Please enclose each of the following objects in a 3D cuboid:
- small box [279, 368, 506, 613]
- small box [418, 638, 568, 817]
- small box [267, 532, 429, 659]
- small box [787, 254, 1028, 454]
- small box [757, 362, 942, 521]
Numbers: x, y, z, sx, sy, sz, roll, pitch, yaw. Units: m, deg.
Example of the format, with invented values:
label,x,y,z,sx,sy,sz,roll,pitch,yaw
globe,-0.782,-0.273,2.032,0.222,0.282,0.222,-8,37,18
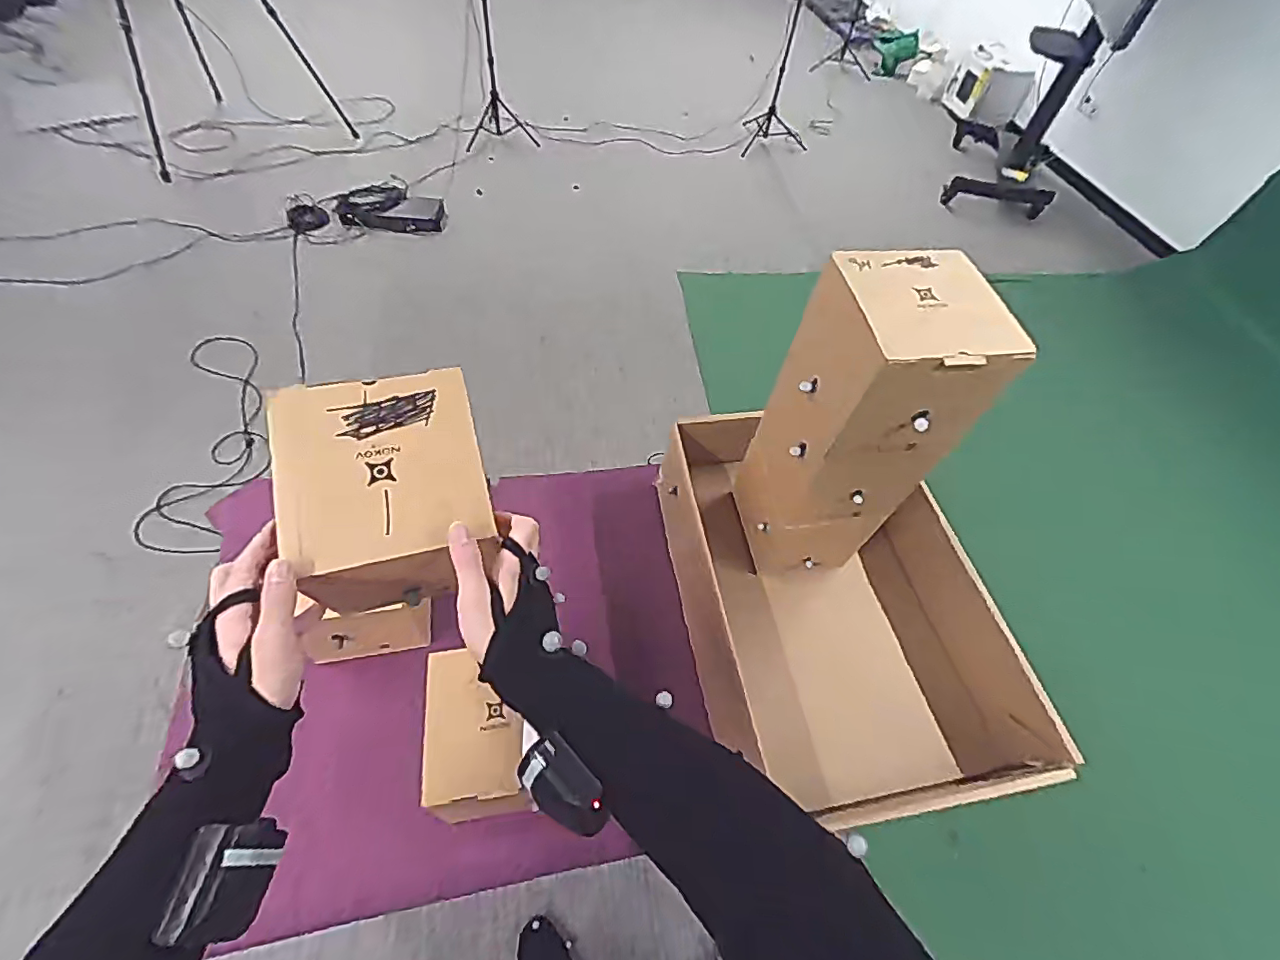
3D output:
label,x,y,z,sx,sy,sz,roll,pitch,yaw
small box,-0.231,0.016,0.534,0.168,0.176,0.179,-11,70,-17
small box,-0.184,0.331,0.715,0.168,0.176,0.179,-4,53,-11
small box,-0.421,0.157,0.816,0.168,0.176,0.179,-6,54,-11
small box,0.293,-0.142,0.641,0.168,0.176,0.179,-3,57,-8
small box,0.283,-0.051,0.777,0.168,0.176,0.179,-3,56,-8
